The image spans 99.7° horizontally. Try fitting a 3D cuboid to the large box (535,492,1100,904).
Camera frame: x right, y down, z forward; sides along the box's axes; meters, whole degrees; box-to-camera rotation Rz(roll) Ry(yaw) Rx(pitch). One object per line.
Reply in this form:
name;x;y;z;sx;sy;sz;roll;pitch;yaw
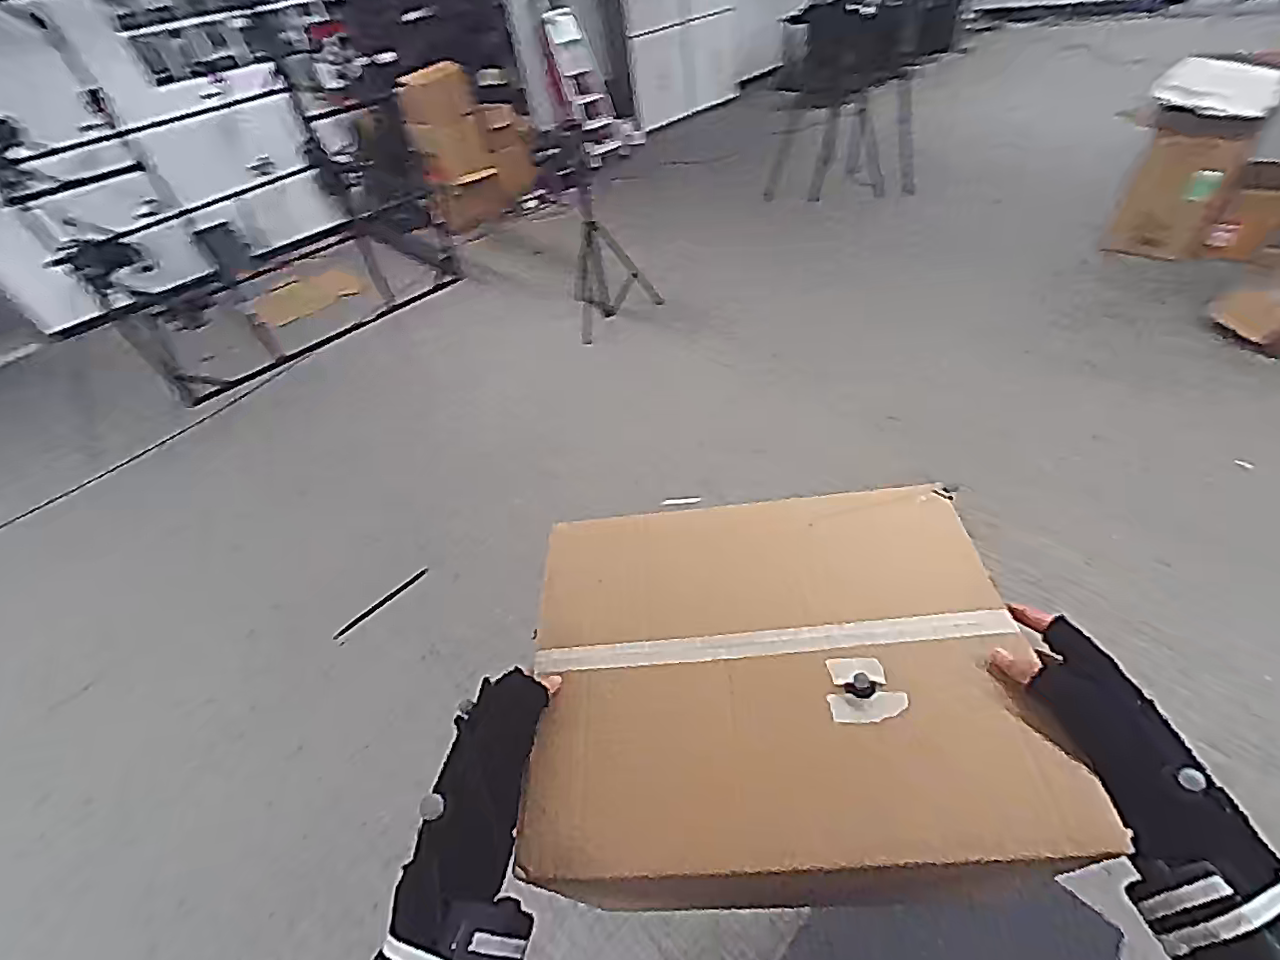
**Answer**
large box;0.133;0.245;0.588;0.408;0.320;0.320;-6;48;6
